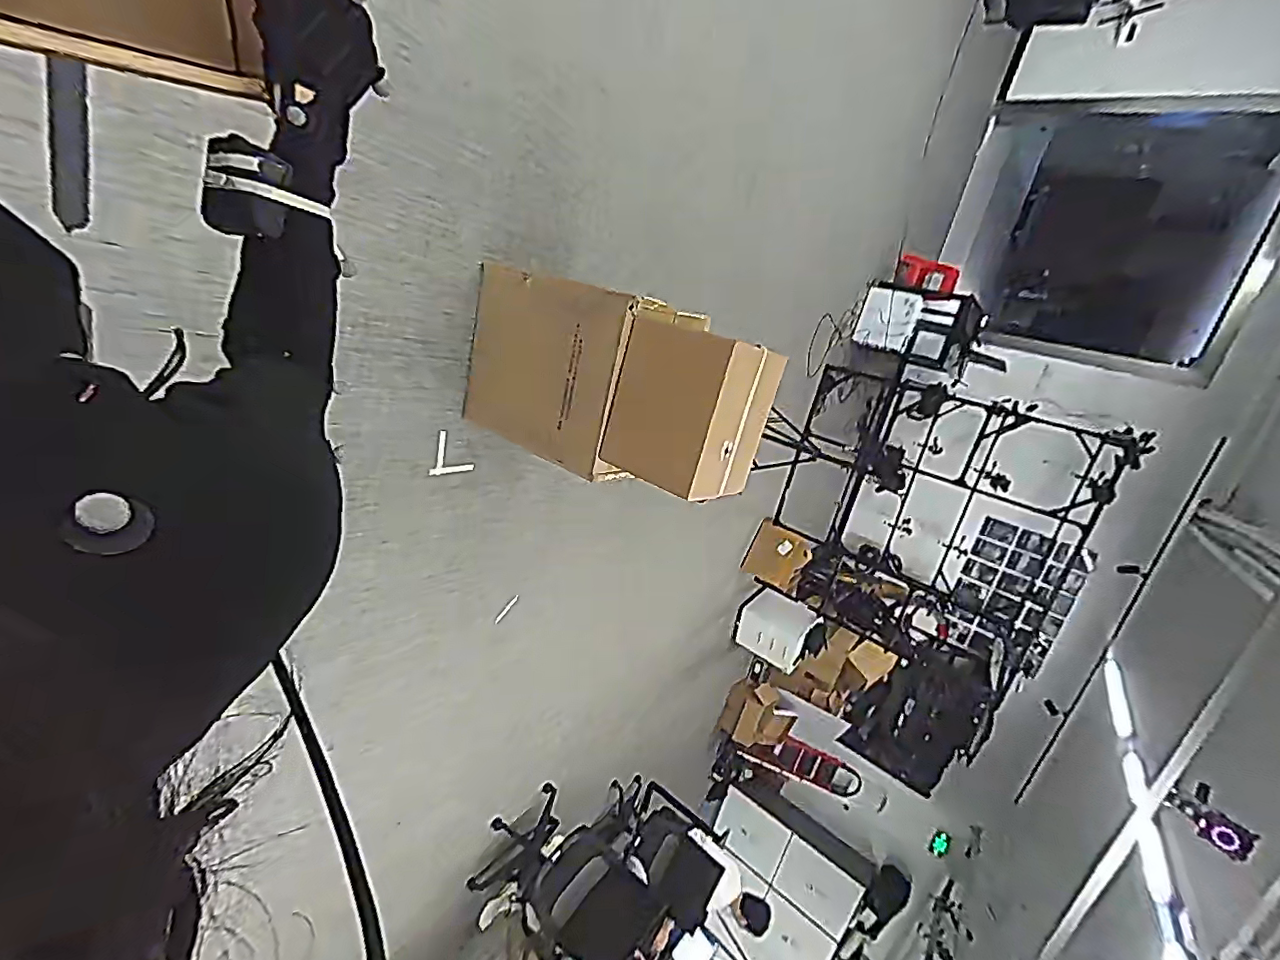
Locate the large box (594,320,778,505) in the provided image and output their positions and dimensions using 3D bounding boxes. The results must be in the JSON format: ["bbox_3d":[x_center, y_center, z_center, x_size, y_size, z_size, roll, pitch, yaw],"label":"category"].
[{"bbox_3d":[0.121,-0.187,1.479,0.320,0.320,0.408,-5,116,-53],"label":"large box"}]
